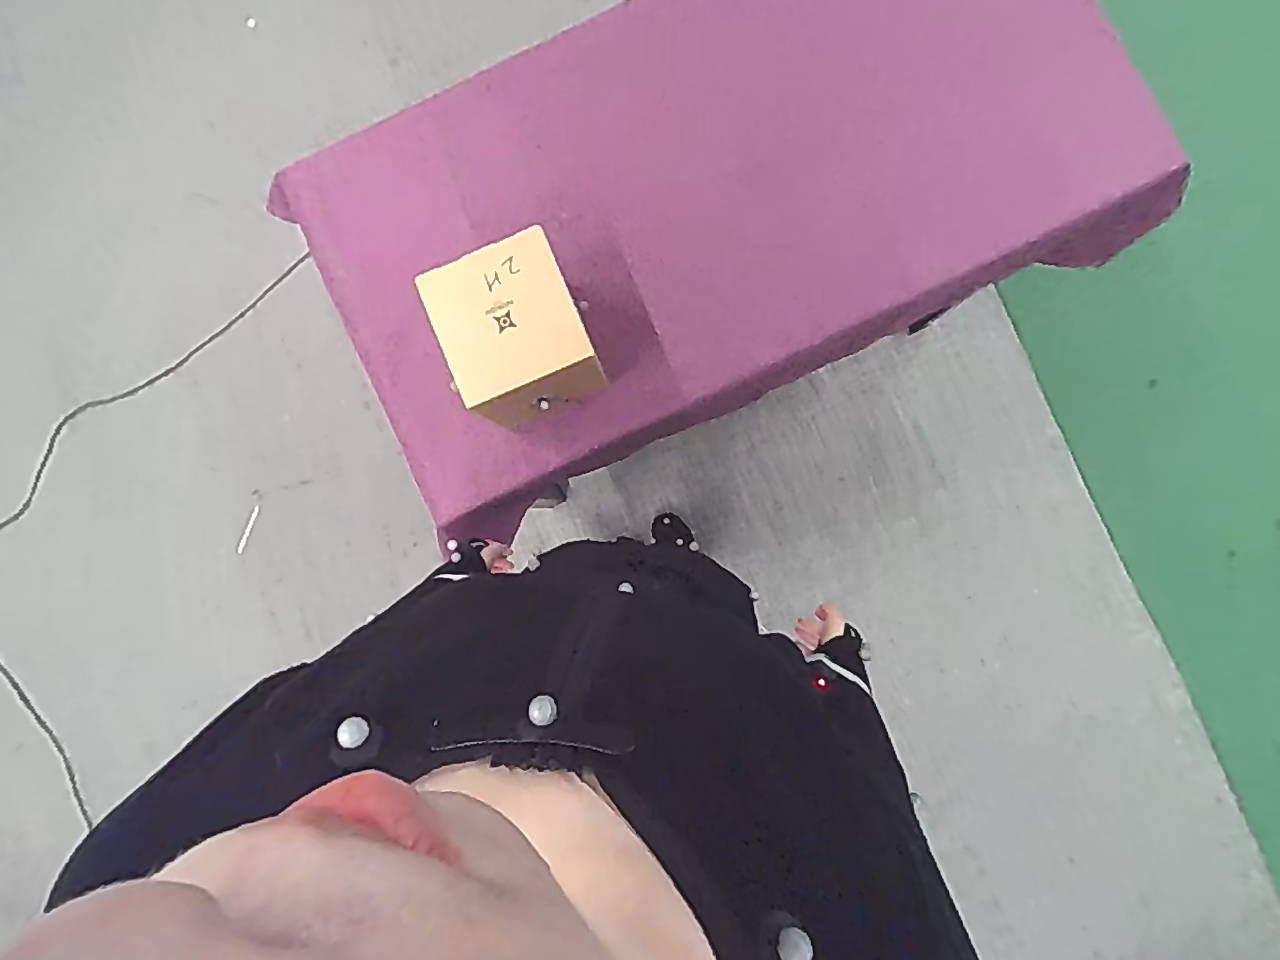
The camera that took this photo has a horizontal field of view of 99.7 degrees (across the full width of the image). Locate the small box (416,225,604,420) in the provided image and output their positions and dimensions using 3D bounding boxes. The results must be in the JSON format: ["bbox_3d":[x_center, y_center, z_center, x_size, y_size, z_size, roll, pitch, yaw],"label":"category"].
[{"bbox_3d":[-0.156,-0.189,0.714,0.168,0.176,0.179,-23,86,0],"label":"small box"}]
